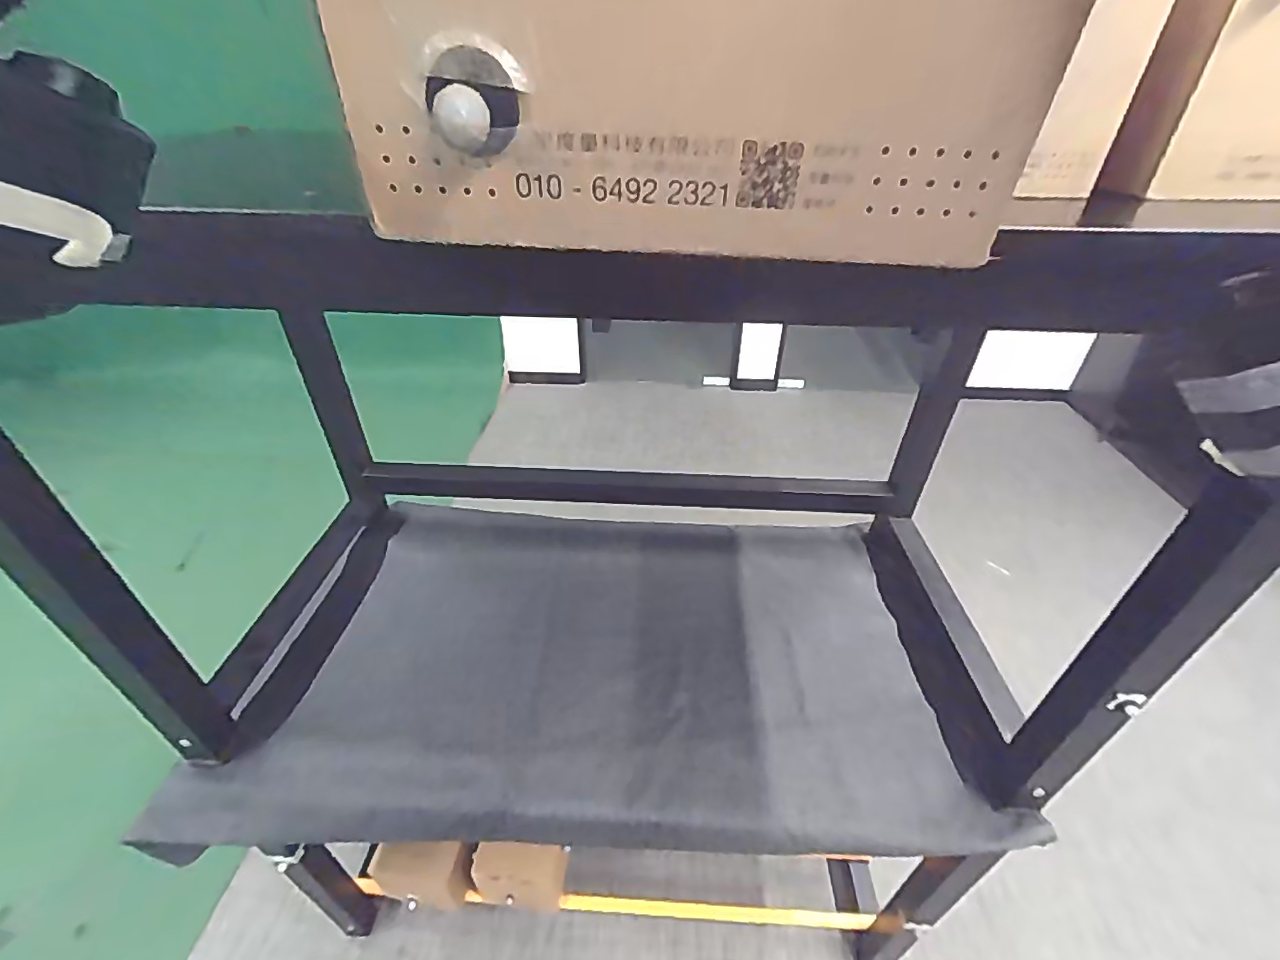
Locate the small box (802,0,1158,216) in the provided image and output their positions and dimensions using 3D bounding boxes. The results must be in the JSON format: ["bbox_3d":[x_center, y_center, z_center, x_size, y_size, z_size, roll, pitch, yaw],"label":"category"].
[{"bbox_3d":[0.232,-0.310,0.413,0.168,0.176,0.179,1,35,2],"label":"small box"}]
